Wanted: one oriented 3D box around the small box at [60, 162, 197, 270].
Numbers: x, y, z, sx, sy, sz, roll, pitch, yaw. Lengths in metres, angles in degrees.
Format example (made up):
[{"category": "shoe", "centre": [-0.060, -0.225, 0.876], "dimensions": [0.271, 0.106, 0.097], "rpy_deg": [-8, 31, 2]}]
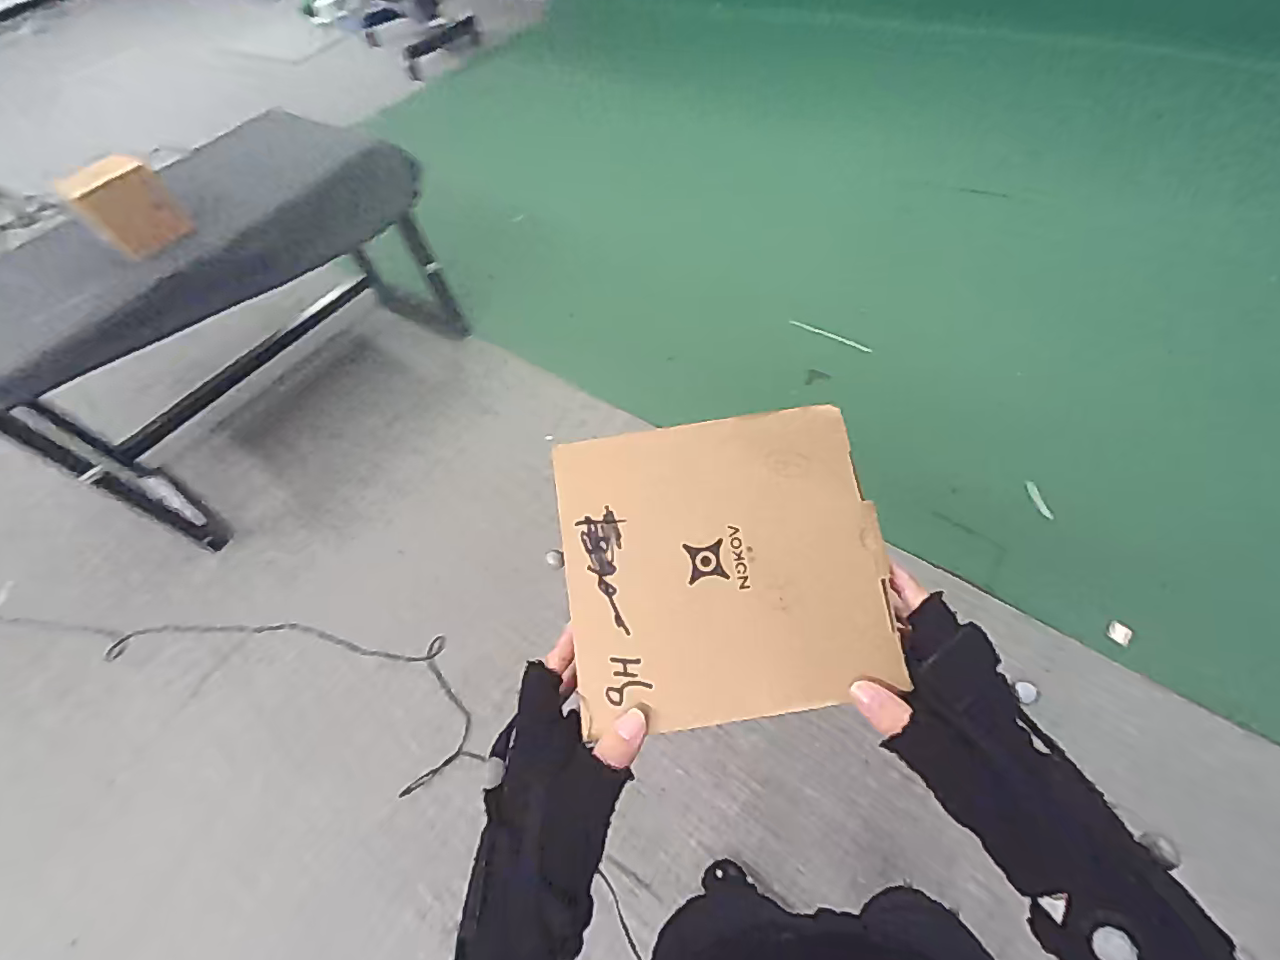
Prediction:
[{"category": "small box", "centre": [-1.284, -0.671, 1.376], "dimensions": [0.168, 0.176, 0.179], "rpy_deg": [27, 66, 26]}]
